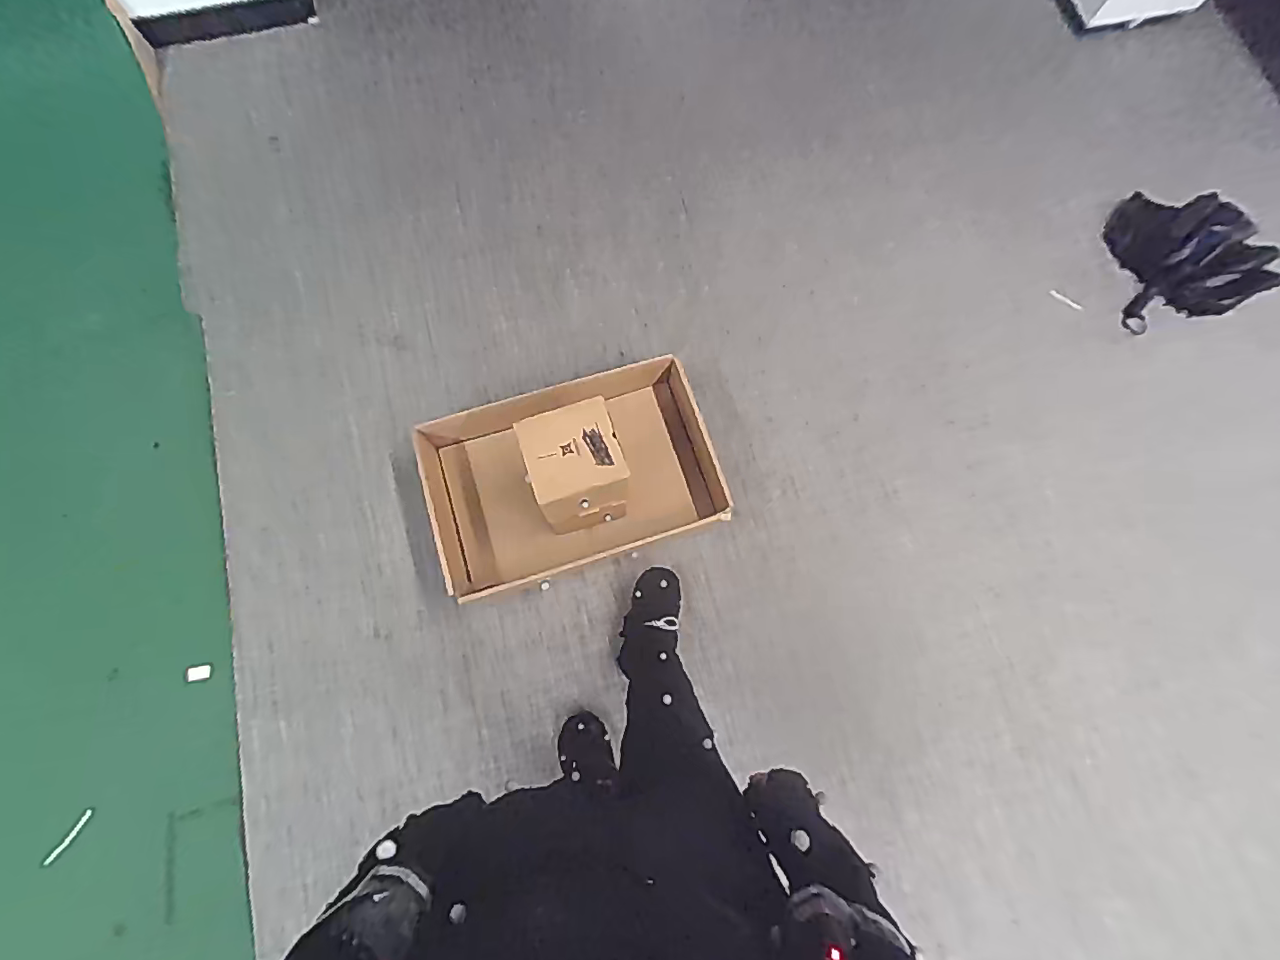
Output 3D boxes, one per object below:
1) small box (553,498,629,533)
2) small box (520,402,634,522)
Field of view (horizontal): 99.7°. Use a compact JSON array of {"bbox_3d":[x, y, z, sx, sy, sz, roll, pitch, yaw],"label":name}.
[{"bbox_3d":[-0.123,0.014,1.217,0.168,0.176,0.179,-15,75,-6],"label":"small box"},{"bbox_3d":[-0.118,-0.028,1.058,0.179,0.176,0.168,-17,76,-5],"label":"small box"}]
